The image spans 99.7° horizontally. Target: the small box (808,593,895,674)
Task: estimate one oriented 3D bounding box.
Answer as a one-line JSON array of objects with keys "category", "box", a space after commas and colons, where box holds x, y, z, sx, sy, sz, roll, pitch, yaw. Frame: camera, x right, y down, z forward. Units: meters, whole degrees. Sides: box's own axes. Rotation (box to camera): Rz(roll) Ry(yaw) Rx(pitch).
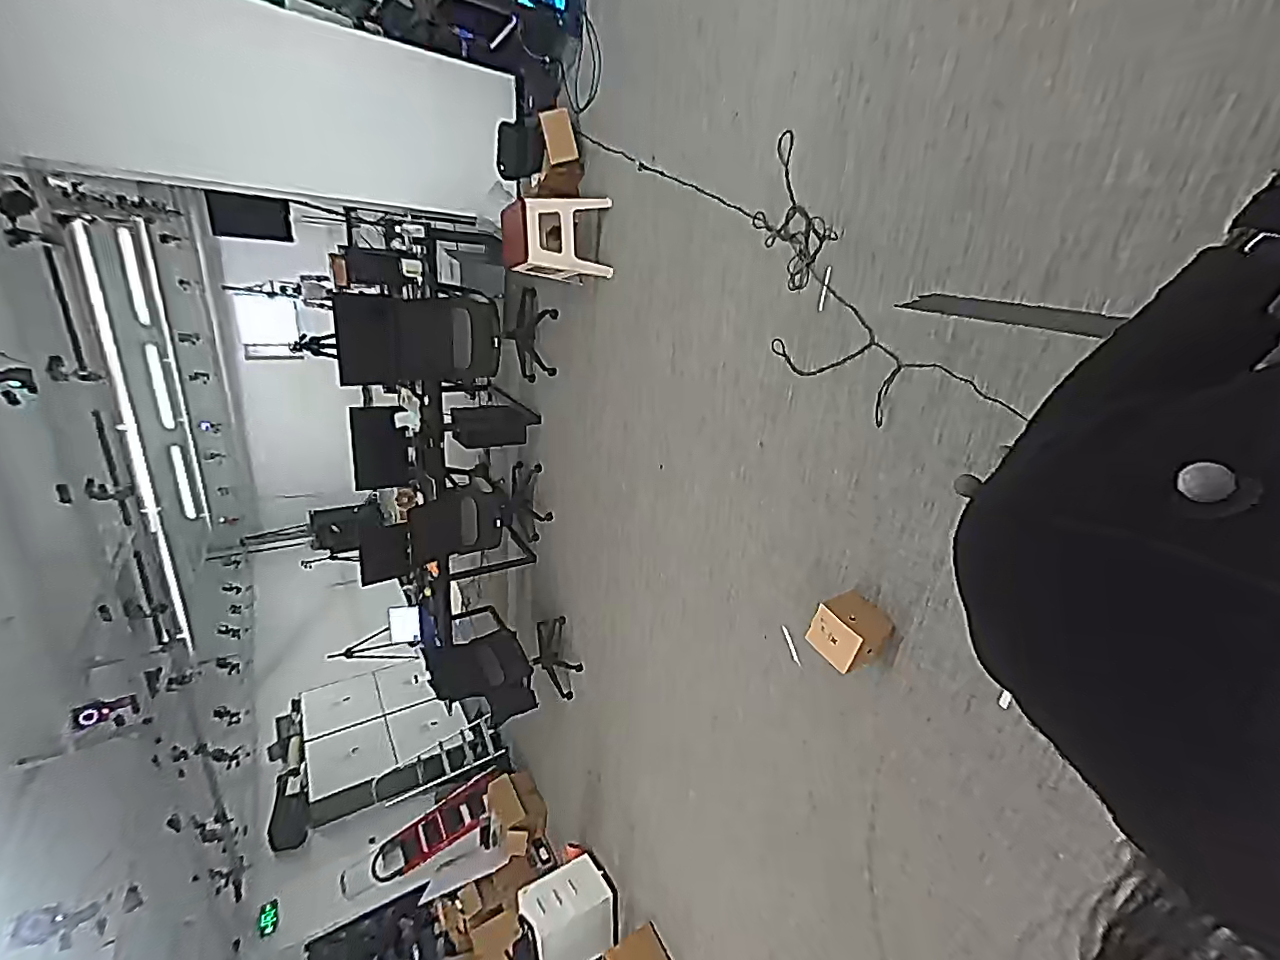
[{"category": "small box", "box": [0.697, 0.496, 1.778, 0.179, 0.176, 0.168, 45, 133, 44]}]
